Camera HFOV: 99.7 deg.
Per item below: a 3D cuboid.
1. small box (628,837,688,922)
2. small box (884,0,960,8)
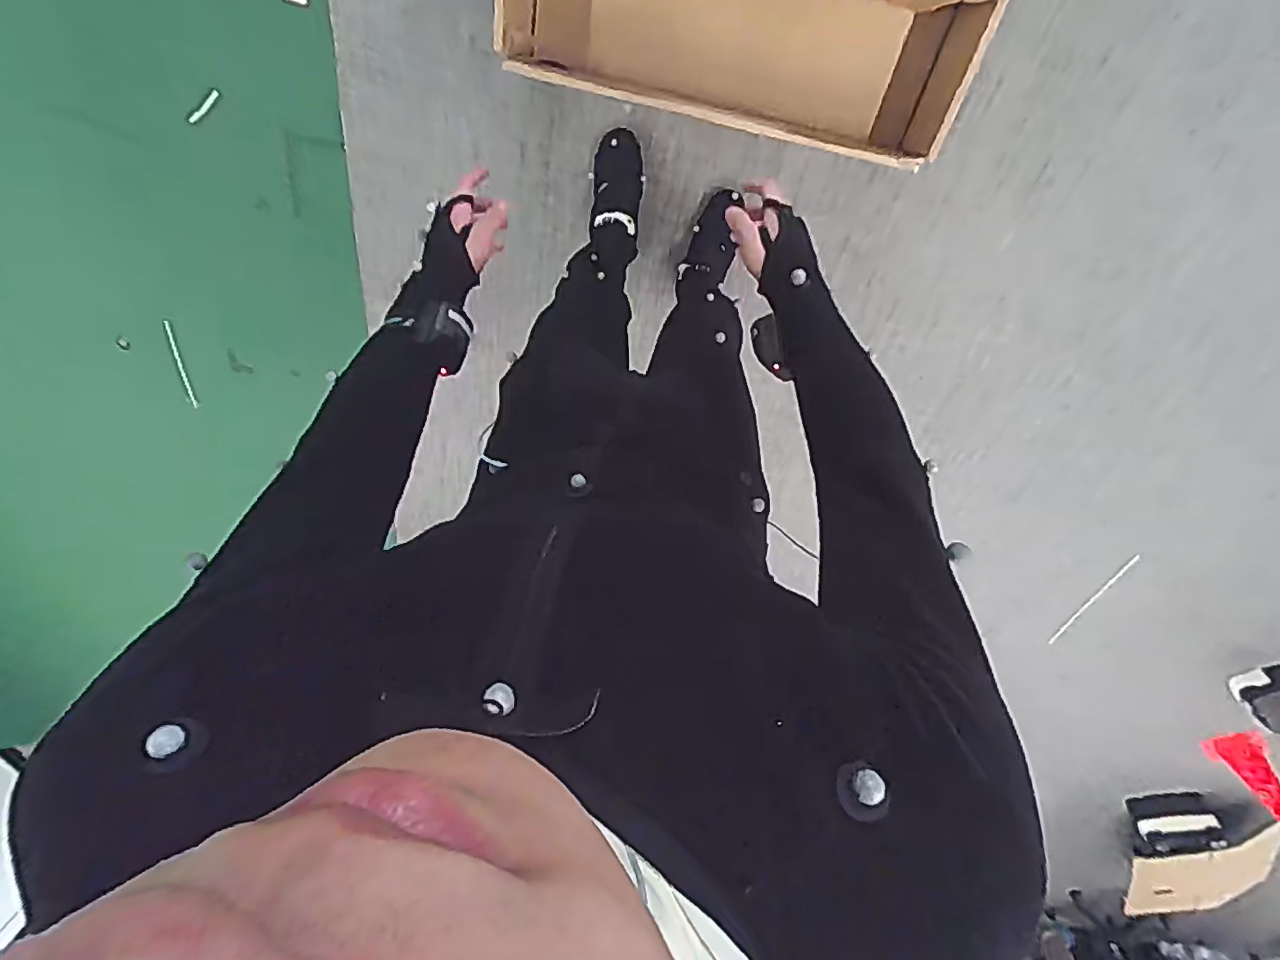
[{"bbox_3d":[0.060,1.270,1.722,0.168,0.176,0.179,9,128,2],"label":"small box"},{"bbox_3d":[0.325,-0.686,0.628,0.168,0.176,0.179,13,128,-3],"label":"small box"}]
